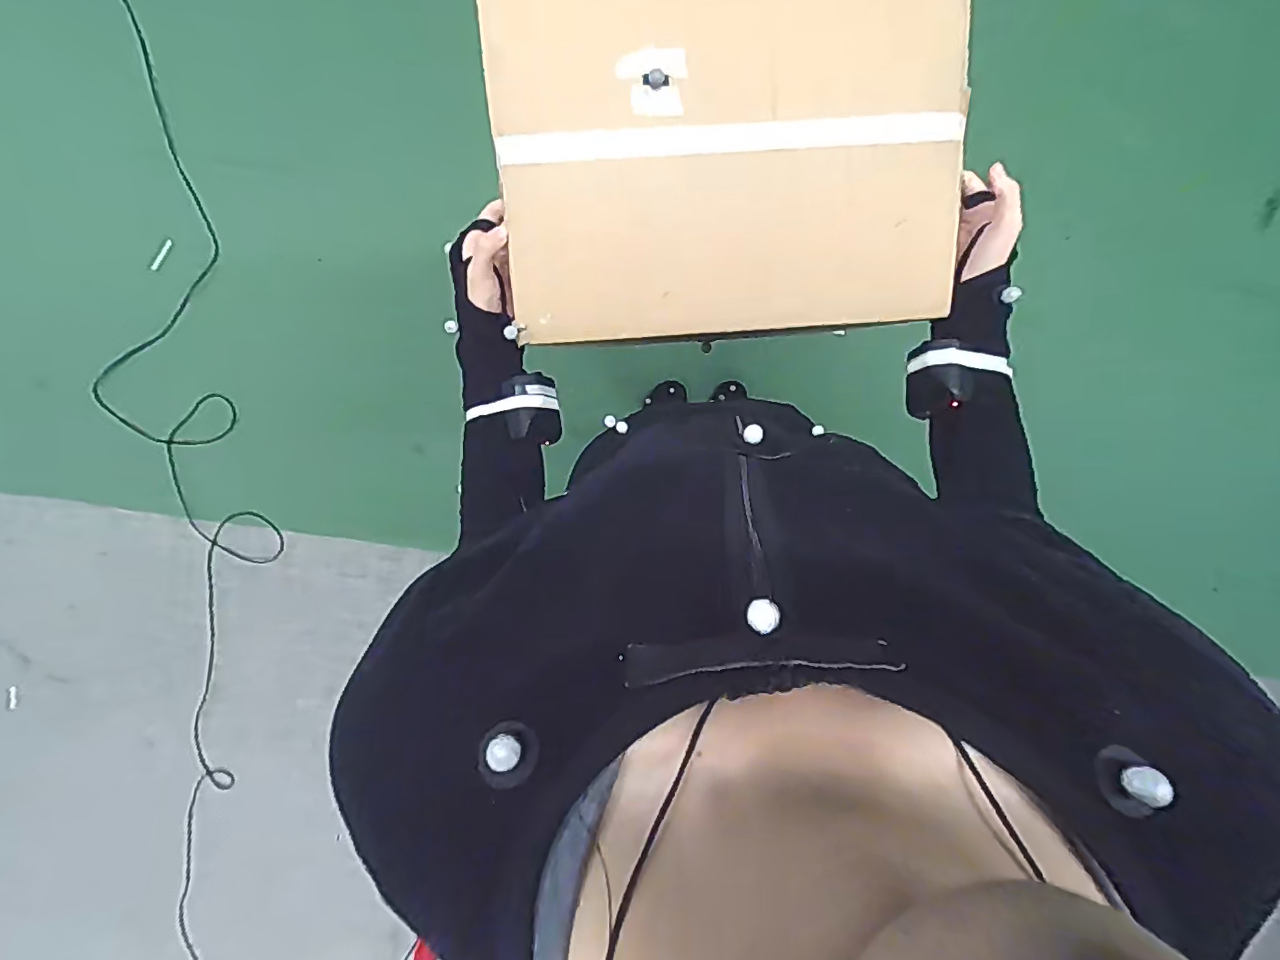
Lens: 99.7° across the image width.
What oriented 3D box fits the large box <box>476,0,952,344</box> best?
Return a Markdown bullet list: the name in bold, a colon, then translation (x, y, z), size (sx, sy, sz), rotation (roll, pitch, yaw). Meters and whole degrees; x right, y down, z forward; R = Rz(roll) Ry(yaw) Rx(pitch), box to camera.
- **large box**: translation (0.068, -0.329, 0.620), size (0.408, 0.320, 0.320), rotation (-4, 103, -2)
